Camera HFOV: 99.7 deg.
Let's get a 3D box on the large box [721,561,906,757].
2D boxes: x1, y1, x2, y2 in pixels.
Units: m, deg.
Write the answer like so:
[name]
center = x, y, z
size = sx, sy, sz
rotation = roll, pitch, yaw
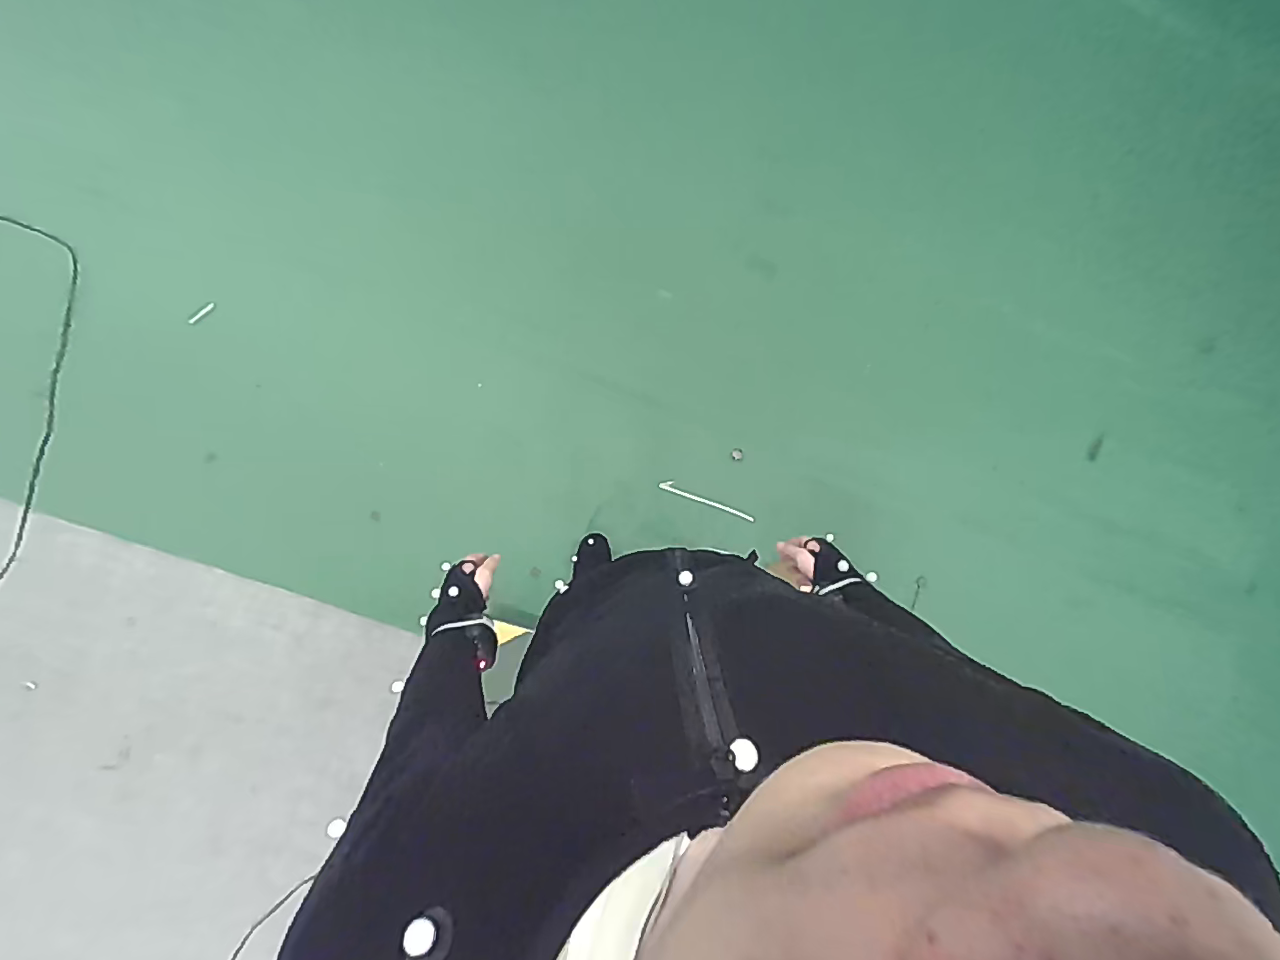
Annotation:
[large box]
center = 0.473, 0.477, 1.535
size = 0.320, 0.320, 0.408
rotation = 25, 83, -3
